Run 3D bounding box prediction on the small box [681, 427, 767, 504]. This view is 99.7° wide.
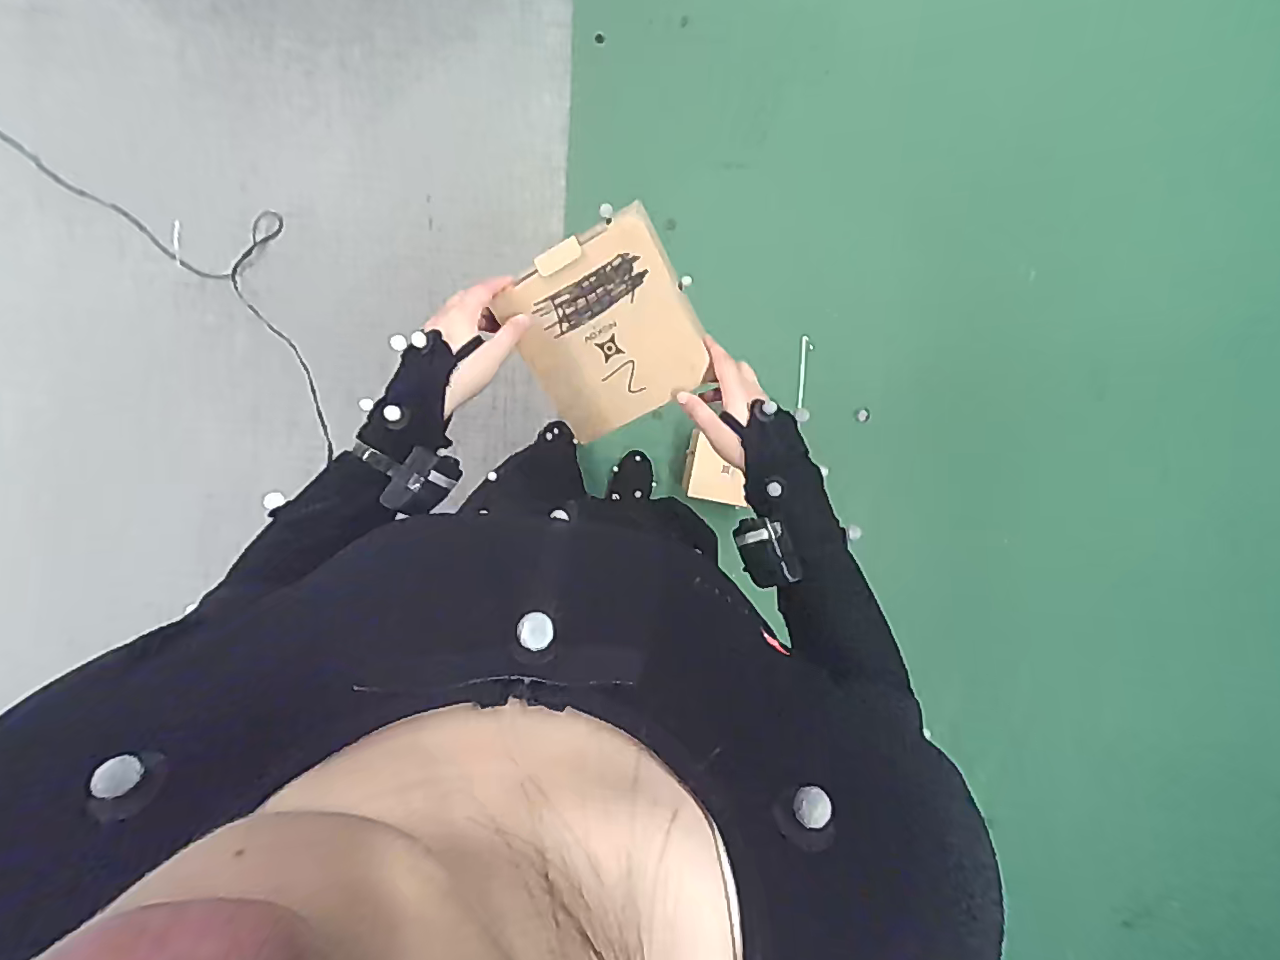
[{"bbox_3d":[0.209,-0.042,1.401,0.179,0.176,0.168,10,96,-3],"label":"small box"}]
